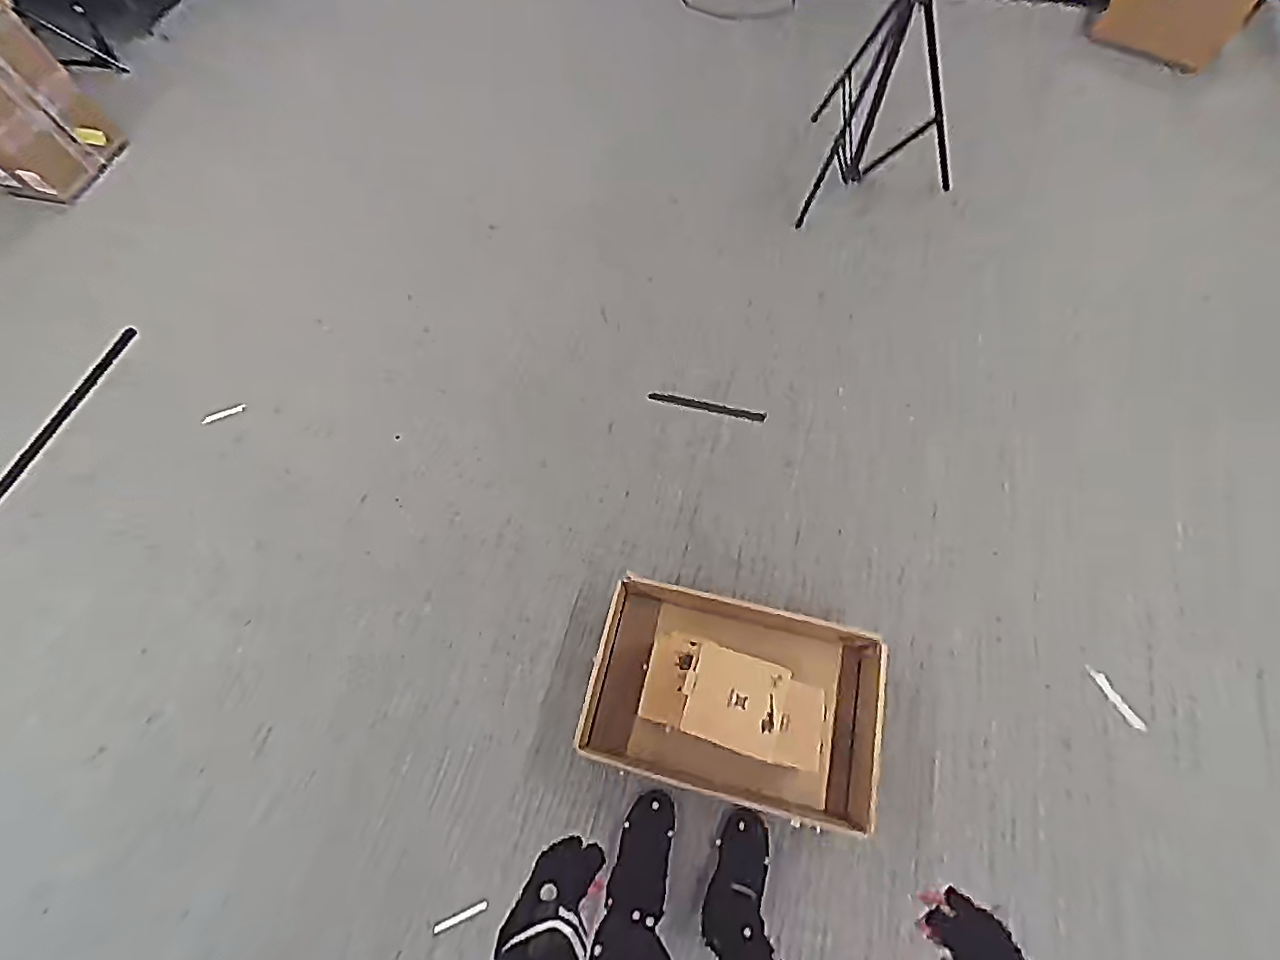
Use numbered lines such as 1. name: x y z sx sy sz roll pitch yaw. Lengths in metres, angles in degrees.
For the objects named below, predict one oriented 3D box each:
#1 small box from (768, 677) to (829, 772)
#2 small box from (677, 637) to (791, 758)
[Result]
1. small box: 0.297 0.521 1.188 0.179 0.176 0.168 12 67 10
2. small box: 0.176 0.425 1.057 0.179 0.176 0.168 16 68 9
